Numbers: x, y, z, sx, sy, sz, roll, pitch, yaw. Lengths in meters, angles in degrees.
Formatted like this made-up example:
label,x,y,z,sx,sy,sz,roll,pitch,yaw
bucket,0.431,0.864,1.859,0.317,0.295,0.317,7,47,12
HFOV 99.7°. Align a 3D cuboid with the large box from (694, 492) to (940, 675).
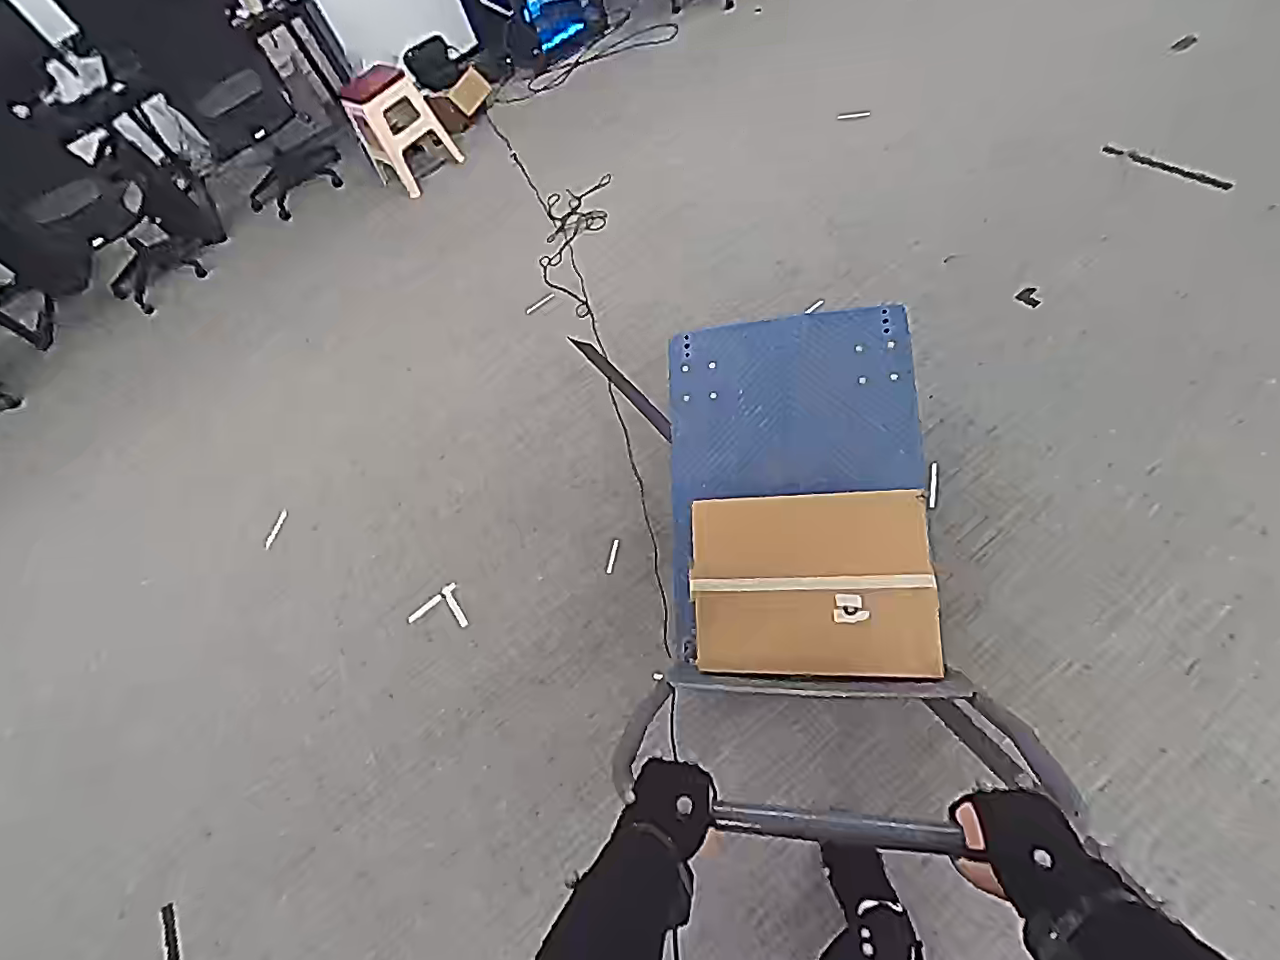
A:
label,x,y,z,sx,sy,sz,roll,pitch,yaw
large box,0.337,0.212,1.109,0.408,0.320,0.320,-4,80,14
